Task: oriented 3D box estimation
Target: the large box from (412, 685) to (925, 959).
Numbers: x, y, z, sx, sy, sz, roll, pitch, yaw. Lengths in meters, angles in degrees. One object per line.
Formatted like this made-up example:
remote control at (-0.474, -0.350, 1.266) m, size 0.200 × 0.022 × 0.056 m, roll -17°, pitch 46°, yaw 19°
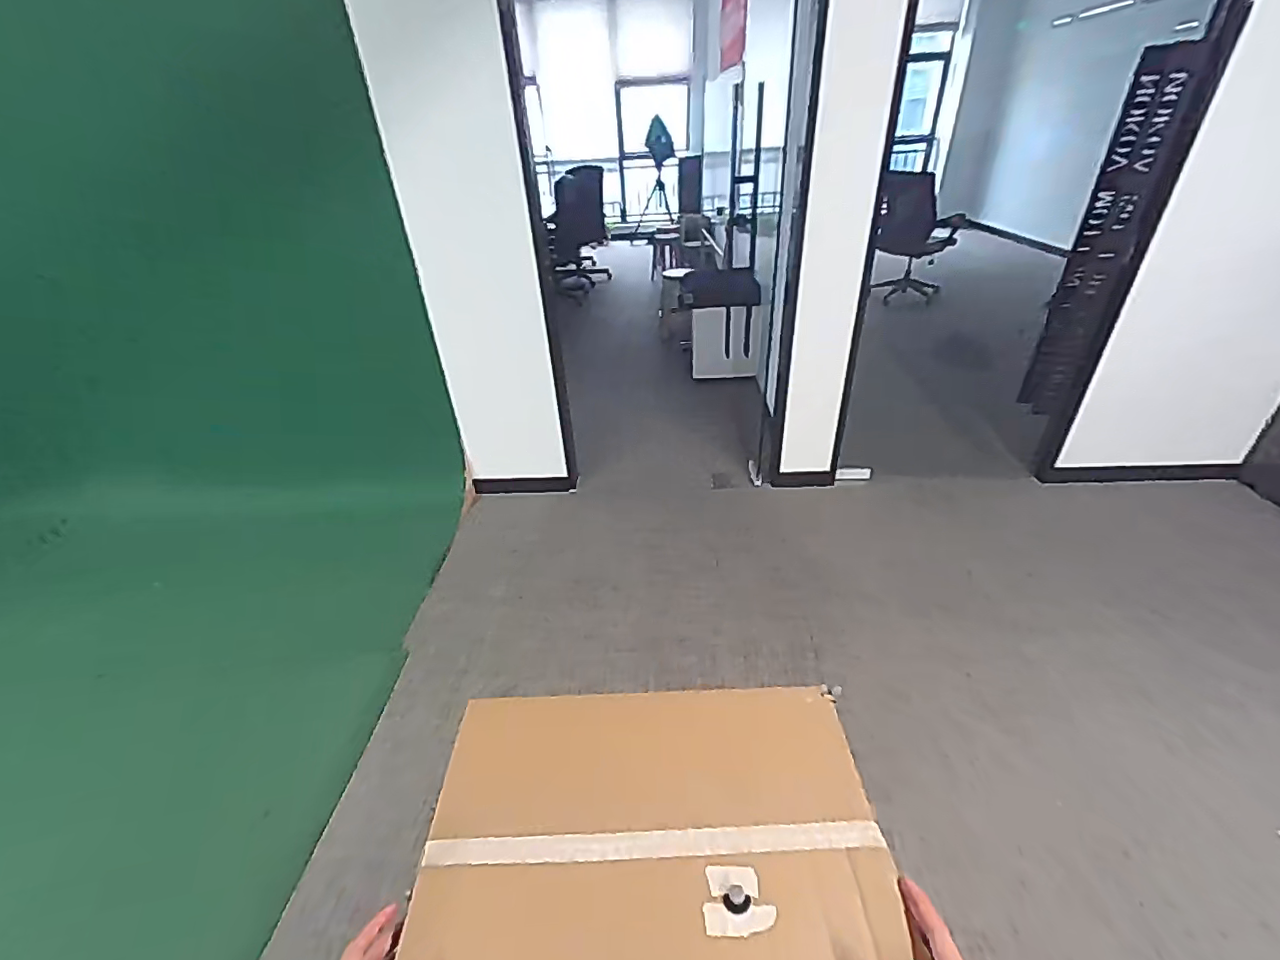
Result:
large box at (0.019, 0.449, 0.565) m, size 0.408 × 0.320 × 0.320 m, roll -2°, pitch 33°, yaw 0°
